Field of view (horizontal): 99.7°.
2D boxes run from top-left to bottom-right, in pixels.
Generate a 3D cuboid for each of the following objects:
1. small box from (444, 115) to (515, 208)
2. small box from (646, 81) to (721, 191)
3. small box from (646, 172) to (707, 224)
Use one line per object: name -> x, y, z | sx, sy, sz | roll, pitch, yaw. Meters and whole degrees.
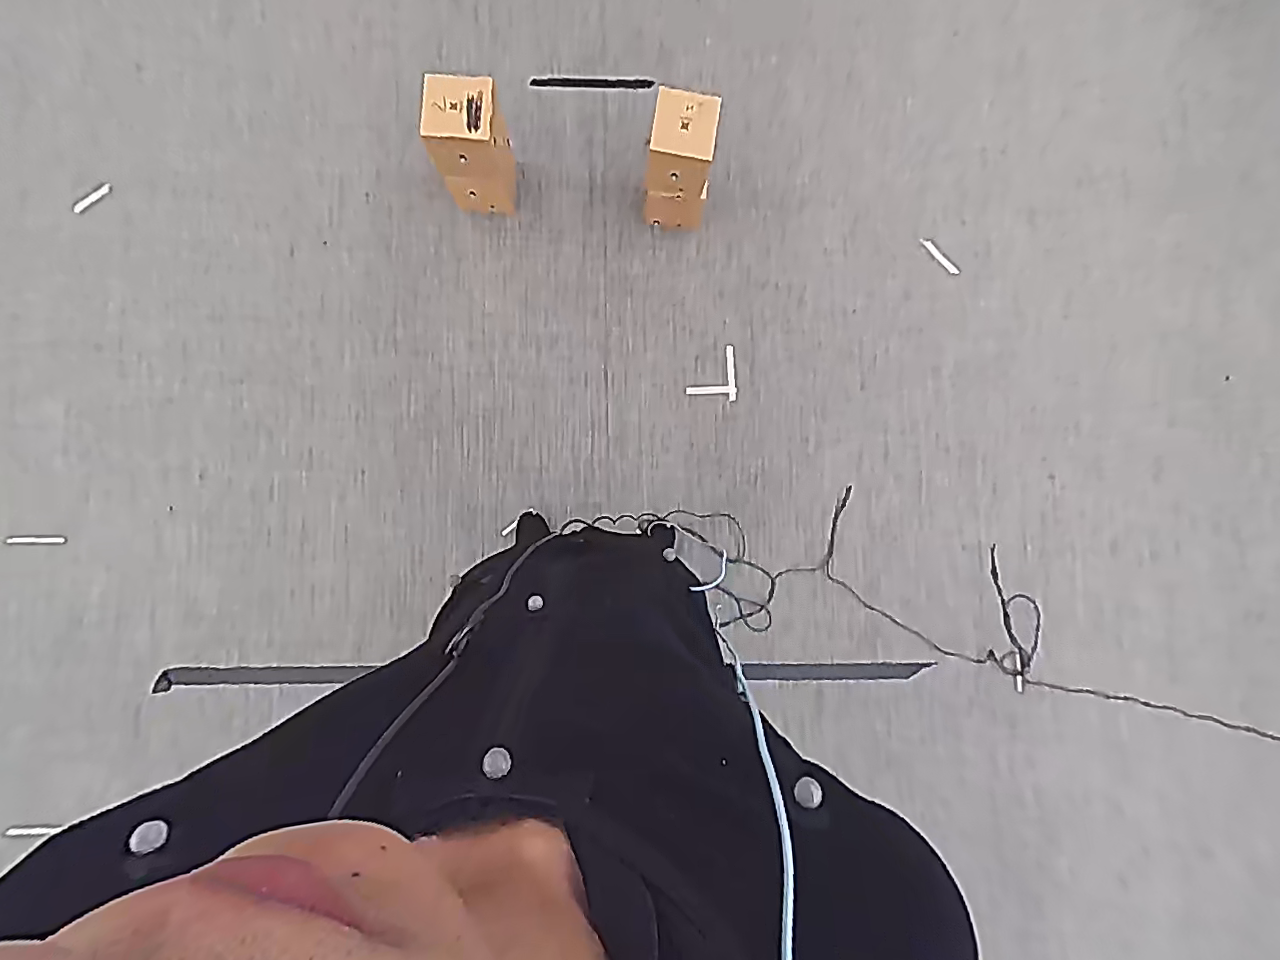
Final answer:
small box -> -0.465, -0.927, 1.587 | 0.168, 0.176, 0.179 | 1, 86, -3
small box -> 0.111, -0.913, 1.451 | 0.168, 0.176, 0.179 | 9, 86, -4
small box -> 0.107, -0.892, 1.615 | 0.168, 0.176, 0.179 | 3, 86, -4
